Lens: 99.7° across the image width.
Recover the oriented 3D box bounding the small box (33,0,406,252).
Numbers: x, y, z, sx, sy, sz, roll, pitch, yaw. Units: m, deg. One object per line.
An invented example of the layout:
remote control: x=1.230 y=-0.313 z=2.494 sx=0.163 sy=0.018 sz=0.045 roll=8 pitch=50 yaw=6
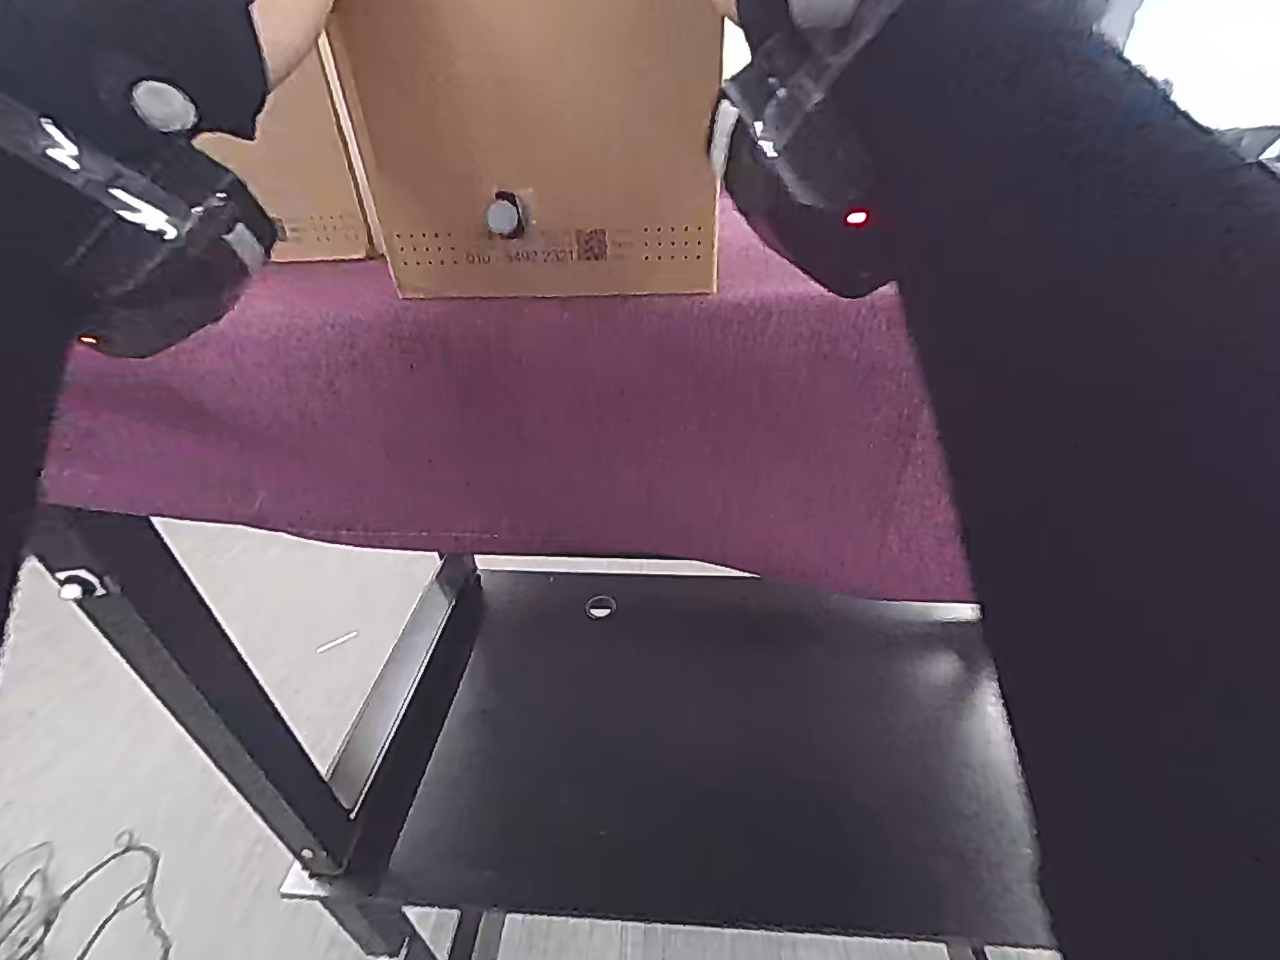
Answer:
small box: x=-0.263 y=-0.268 z=0.393 sx=0.168 sy=0.176 sz=0.179 roll=-4 pitch=33 yaw=-2

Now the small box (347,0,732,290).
small box: x=-0.040 y=-0.213 z=0.301 sx=0.168 sy=0.176 sz=0.179 roll=0 pitch=33 yaw=4
